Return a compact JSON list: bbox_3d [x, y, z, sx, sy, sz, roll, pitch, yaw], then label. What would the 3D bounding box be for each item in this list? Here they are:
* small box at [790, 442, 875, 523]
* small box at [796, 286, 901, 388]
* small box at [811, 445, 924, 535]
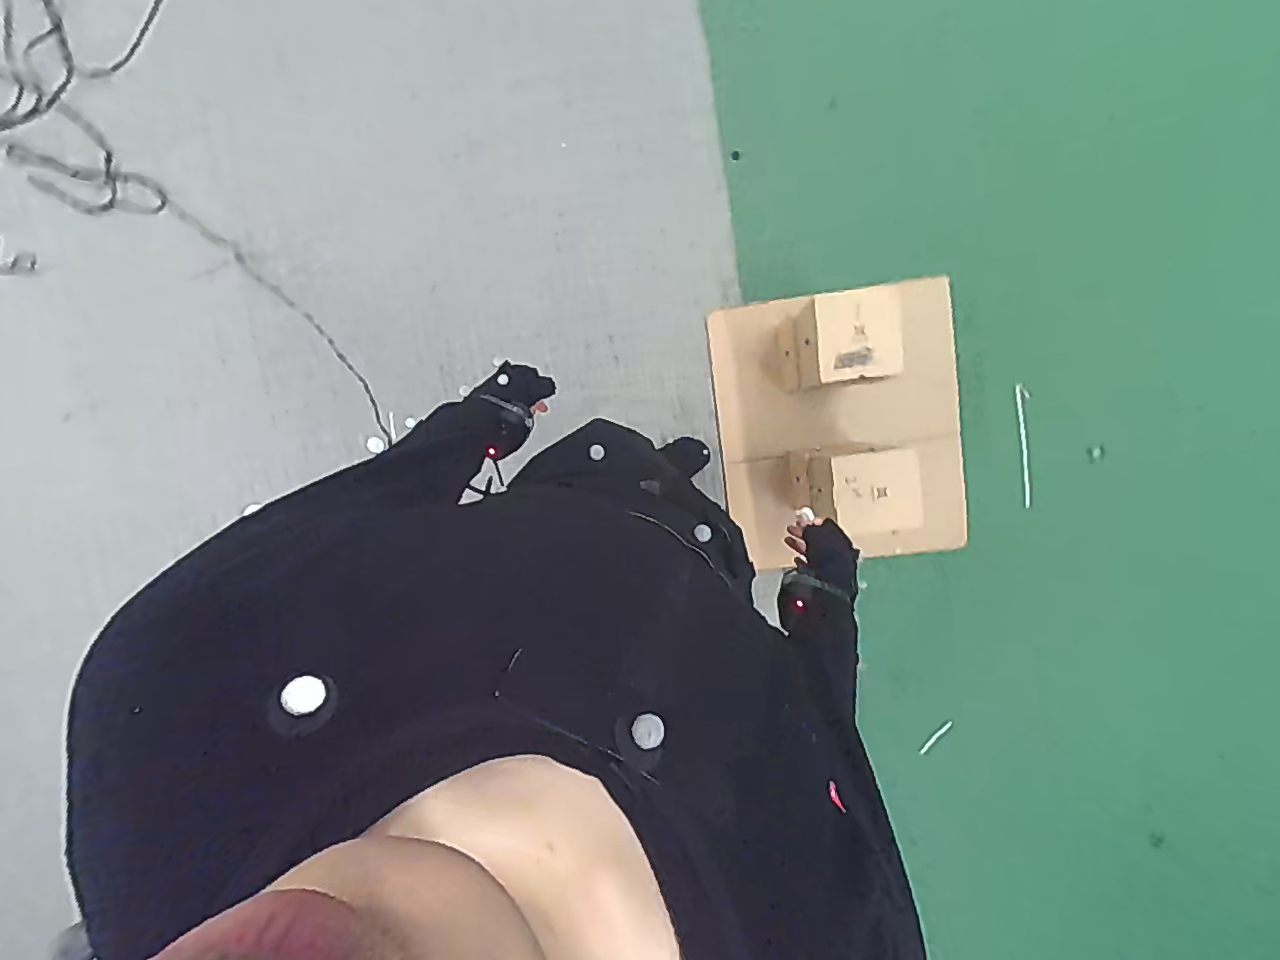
[{"bbox_3d":[0.484,0.000,1.337,0.179,0.176,0.168,-9,95,5],"label":"small box"},{"bbox_3d":[0.433,-0.291,1.142,0.168,0.176,0.179,-5,93,4],"label":"small box"},{"bbox_3d":[0.486,0.016,1.172,0.179,0.176,0.168,-7,95,5],"label":"small box"}]
